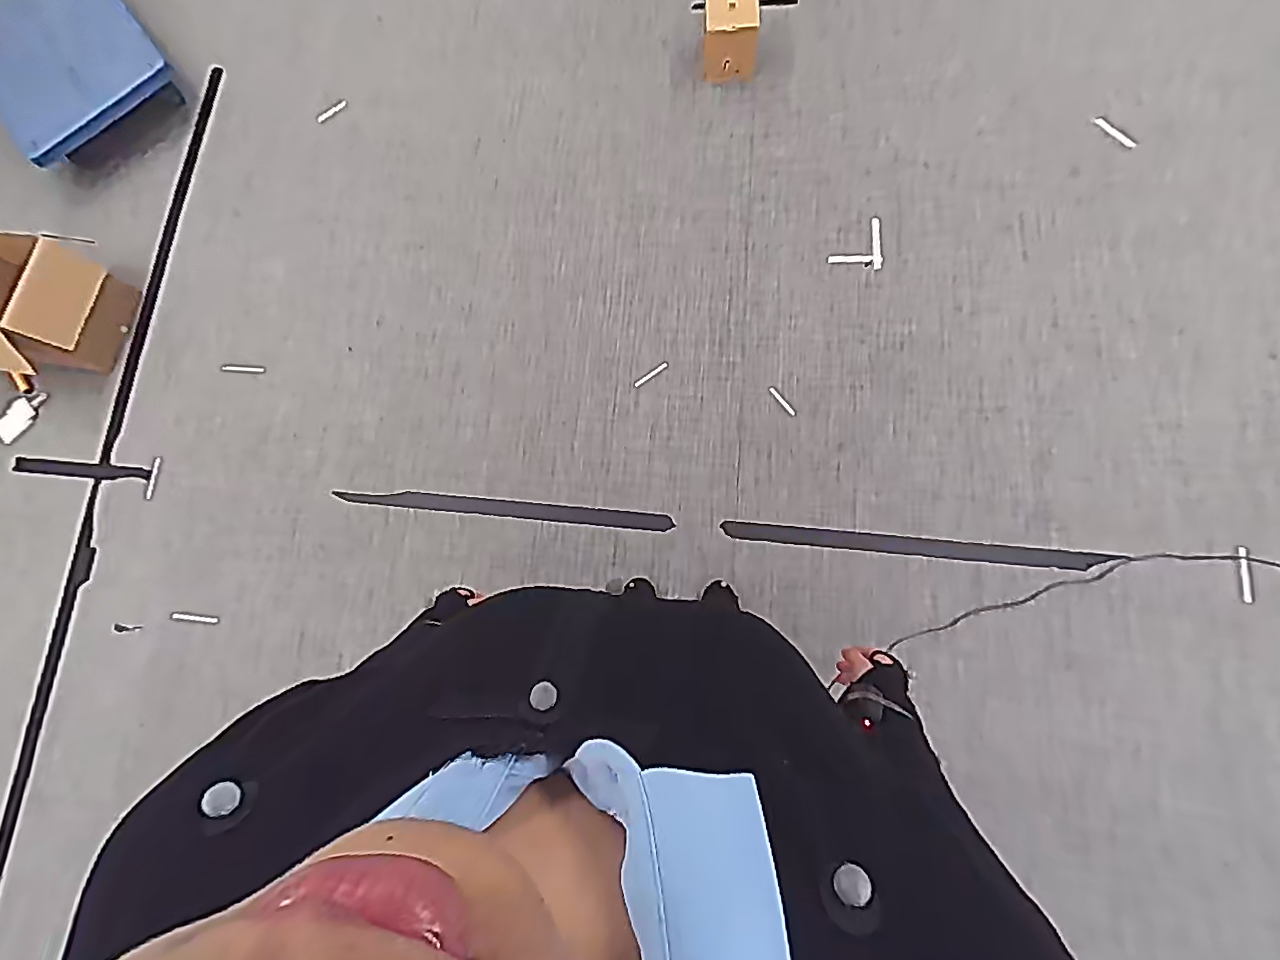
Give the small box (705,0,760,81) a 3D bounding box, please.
[{"bbox_3d":[0.297,-1.452,1.764,0.168,0.176,0.179,-2,78,6],"label":"small box"}]
